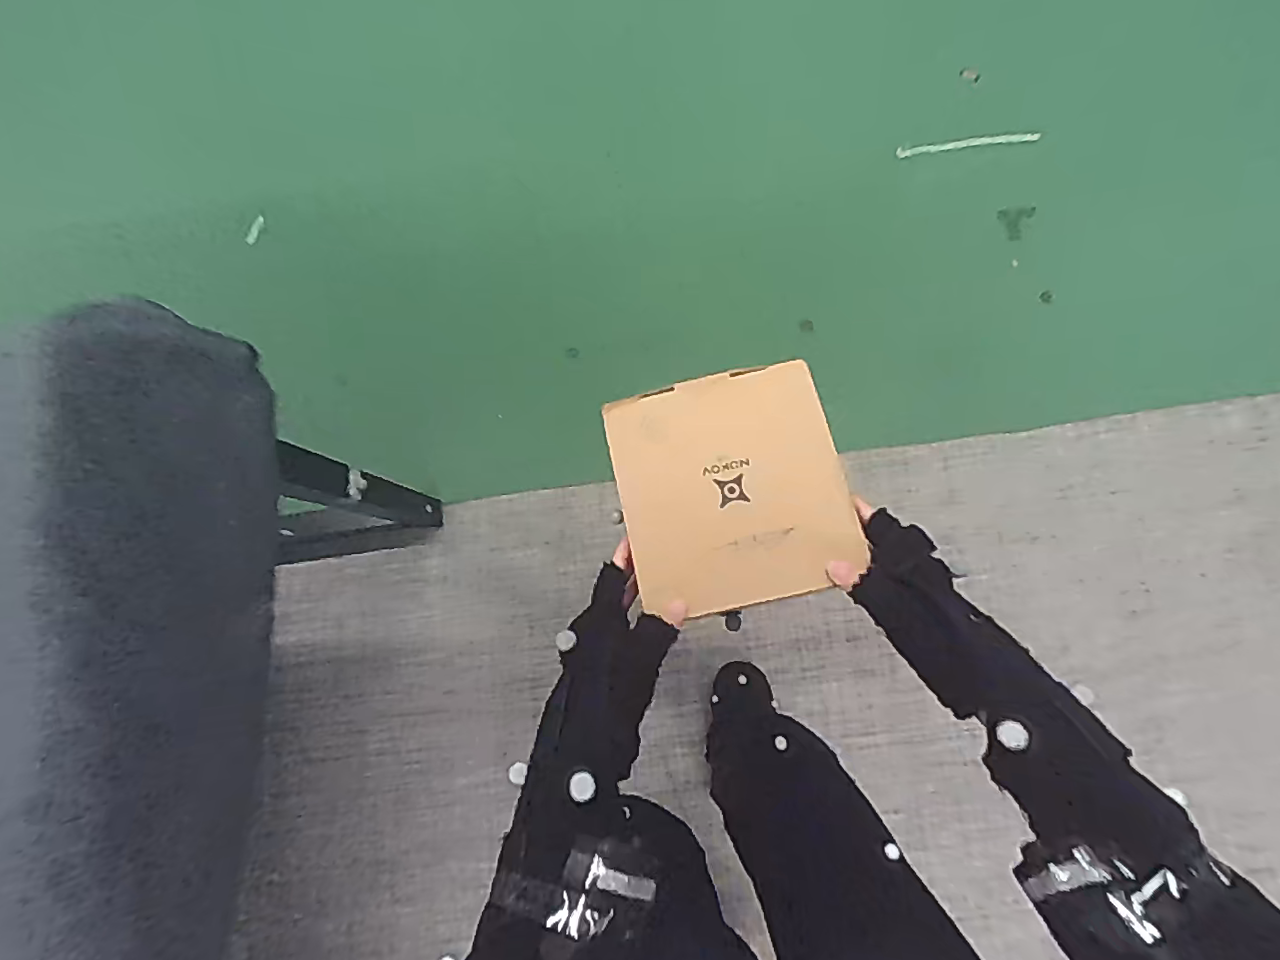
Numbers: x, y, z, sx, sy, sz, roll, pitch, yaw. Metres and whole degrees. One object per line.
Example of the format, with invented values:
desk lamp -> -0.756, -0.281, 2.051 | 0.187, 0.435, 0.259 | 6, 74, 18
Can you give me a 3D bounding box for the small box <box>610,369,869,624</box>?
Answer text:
small box -> 0.076, 0.028, 0.491 | 0.168, 0.176, 0.179 | -13, 75, 2
